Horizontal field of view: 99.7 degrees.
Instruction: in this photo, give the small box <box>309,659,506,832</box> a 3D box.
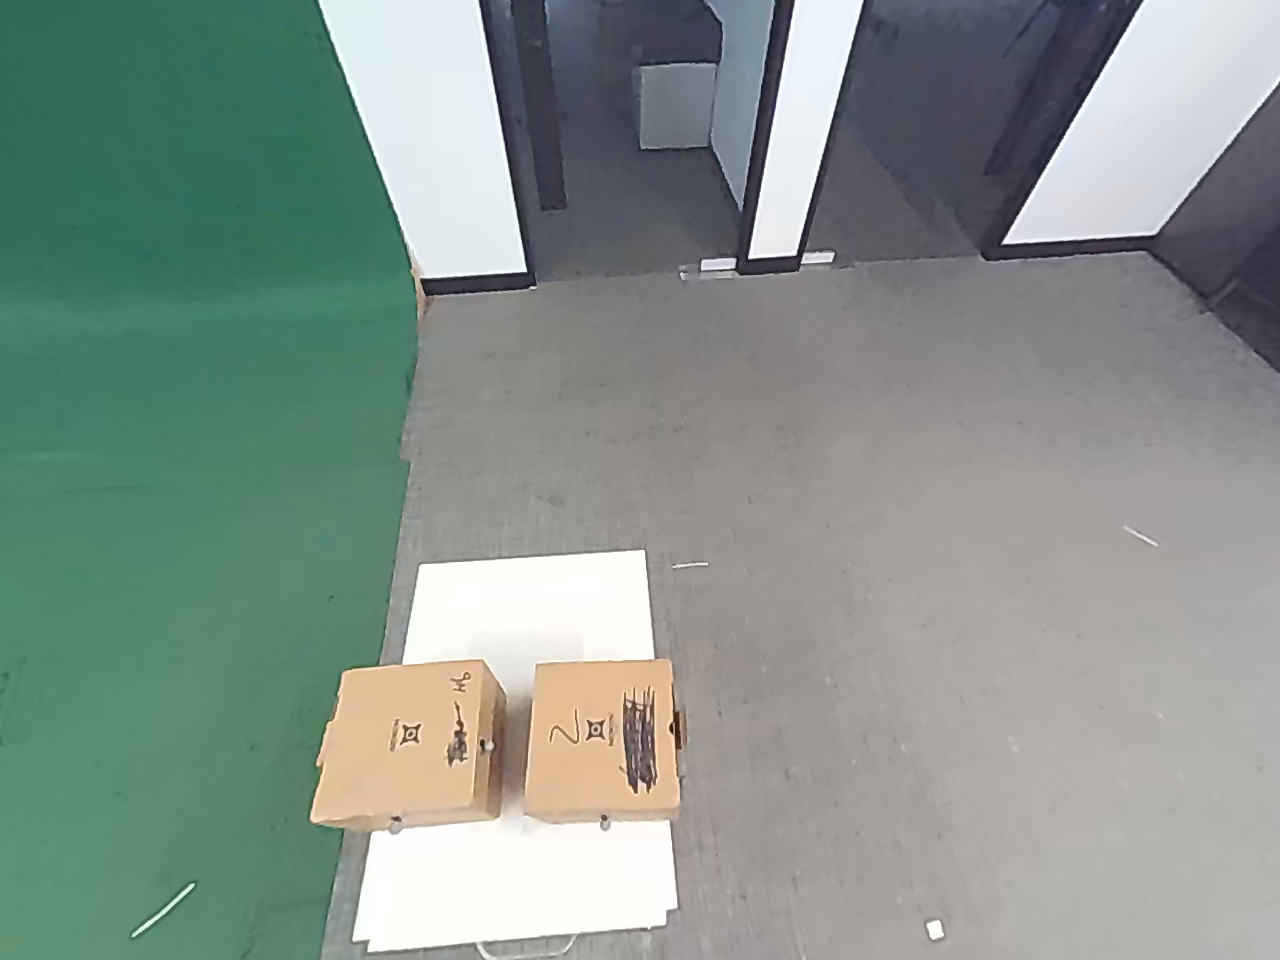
[{"bbox_3d":[-0.281,0.347,0.701,0.179,0.176,0.168,-3,53,-4],"label":"small box"}]
